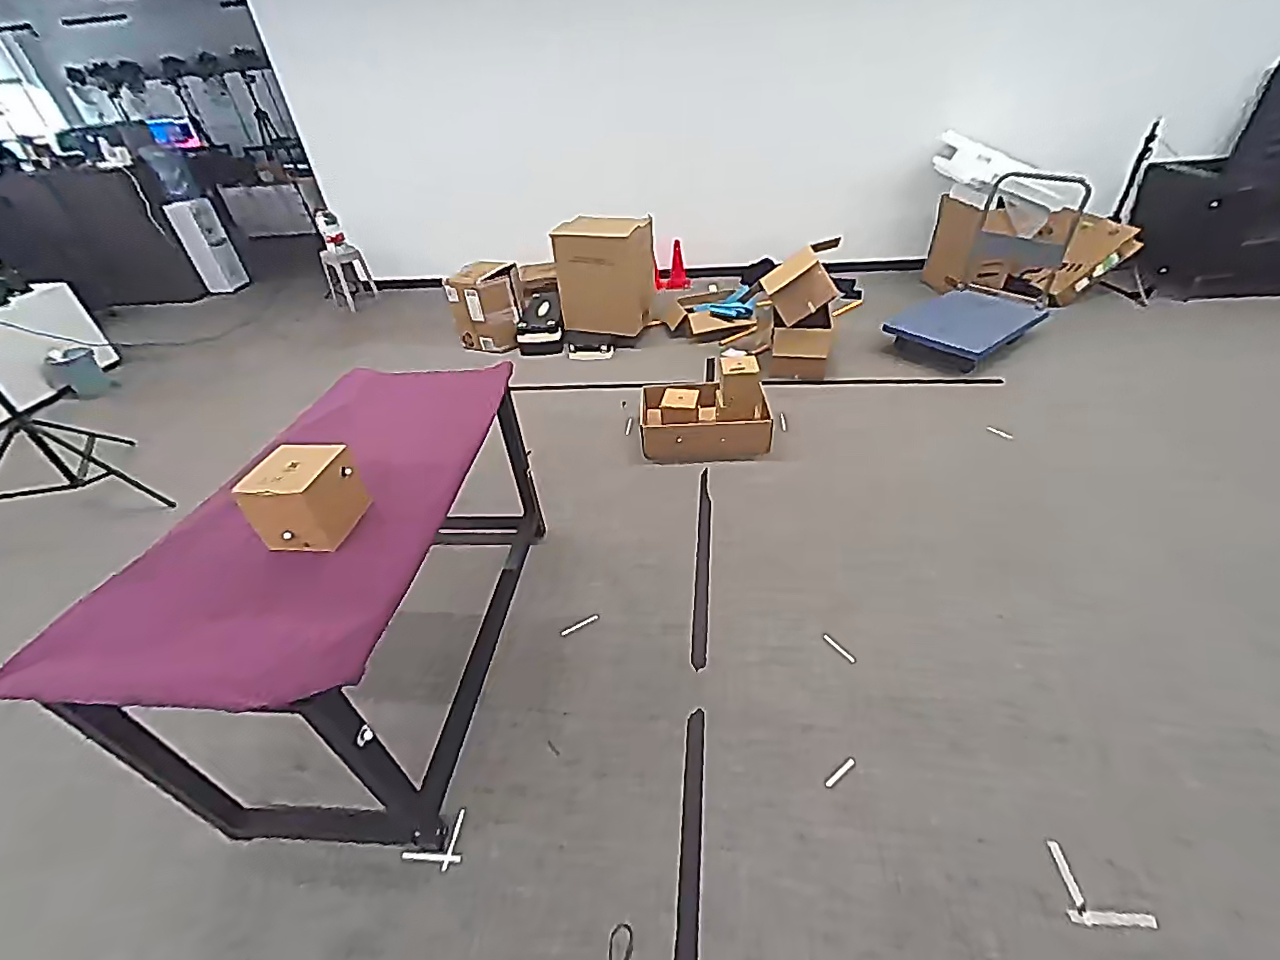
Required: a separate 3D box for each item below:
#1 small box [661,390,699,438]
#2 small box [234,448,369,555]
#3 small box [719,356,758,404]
[{"bbox_3d":[0.198,-0.328,2.682,0.168,0.176,0.179,5,39,11],"label":"small box"},{"bbox_3d":[-0.739,0.045,1.210,0.168,0.176,0.179,0,38,8],"label":"small box"},{"bbox_3d":[0.463,-0.467,2.555,0.168,0.176,0.179,-3,37,4],"label":"small box"}]
